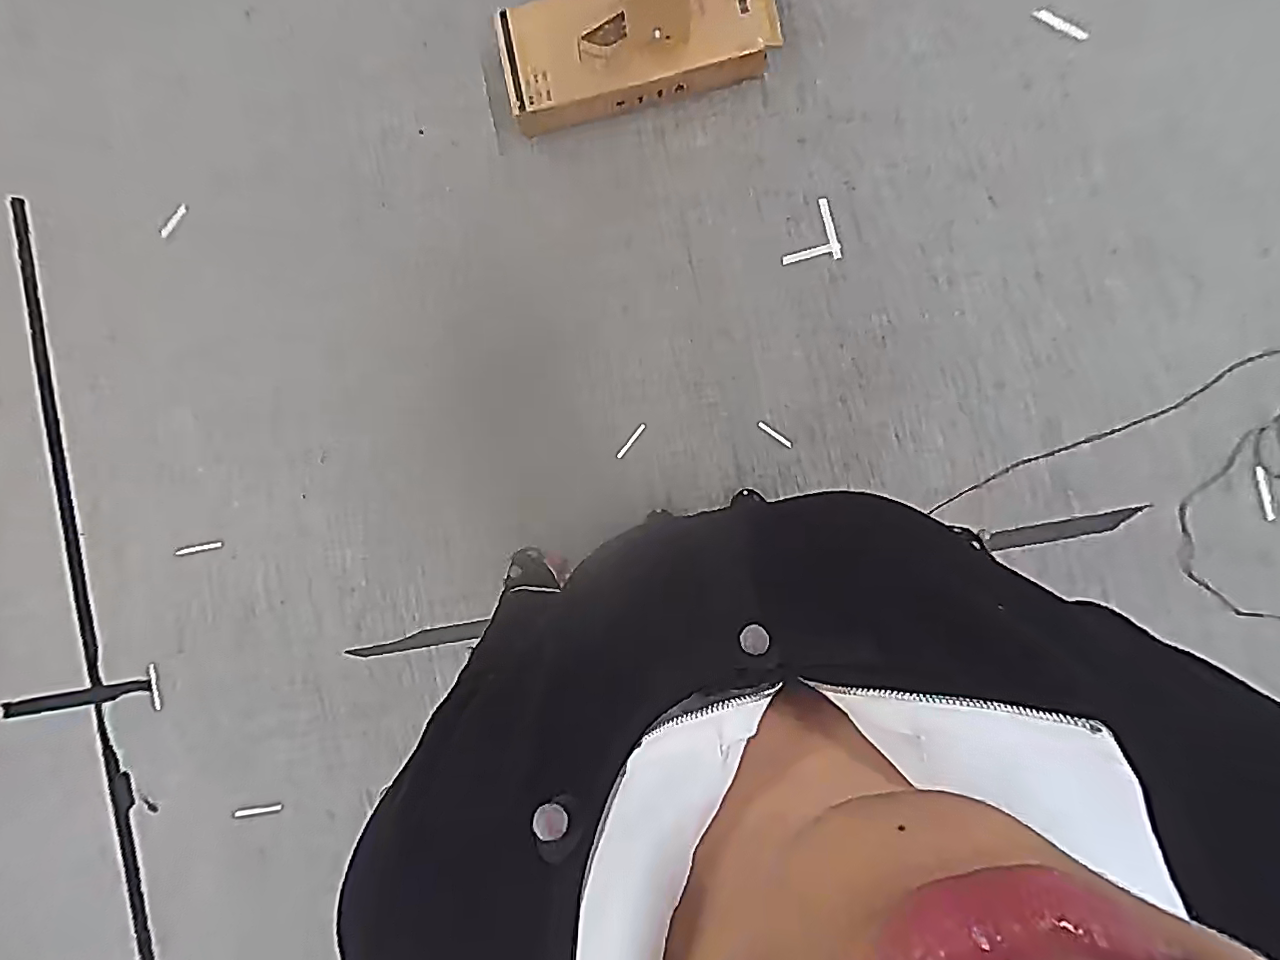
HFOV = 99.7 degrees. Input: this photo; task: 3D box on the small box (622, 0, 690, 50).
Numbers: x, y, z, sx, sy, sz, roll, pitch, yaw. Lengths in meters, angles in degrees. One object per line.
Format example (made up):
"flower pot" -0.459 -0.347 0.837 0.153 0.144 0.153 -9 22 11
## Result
"small box" 0.033 -1.242 1.357 0.168 0.176 0.179 -8 89 6
